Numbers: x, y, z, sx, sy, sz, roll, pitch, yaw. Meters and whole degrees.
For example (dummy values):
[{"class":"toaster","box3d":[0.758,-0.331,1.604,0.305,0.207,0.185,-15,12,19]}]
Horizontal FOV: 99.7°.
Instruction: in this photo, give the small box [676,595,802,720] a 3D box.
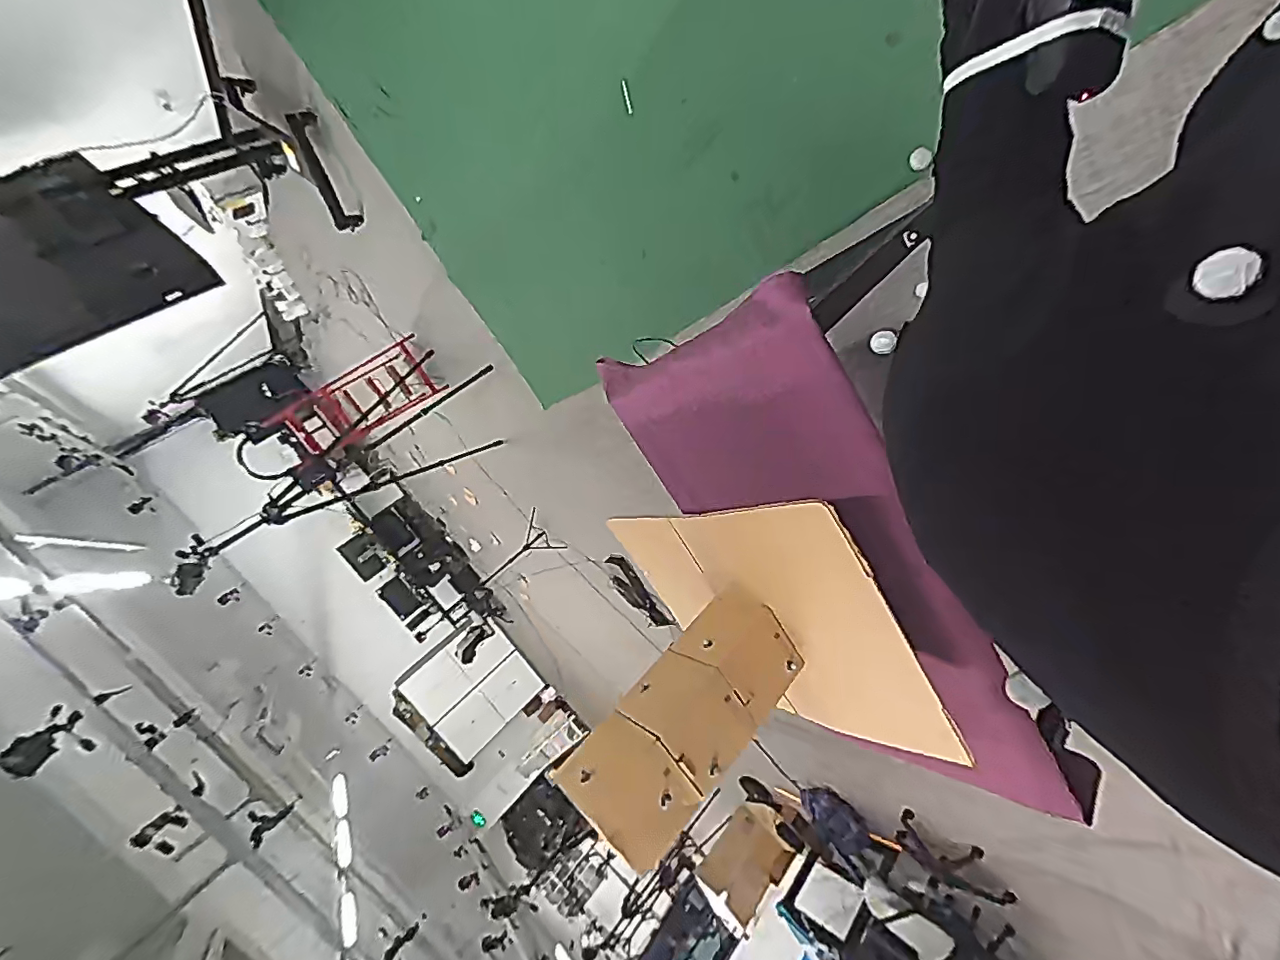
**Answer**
[{"class":"small box","box3d":[0.216,0.364,1.144,0.168,0.176,0.179,56,153,-15]}]

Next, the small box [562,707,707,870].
[{"class":"small box","box3d":[-0.009,0.555,1.002,0.168,0.176,0.179,56,153,-14]}]
